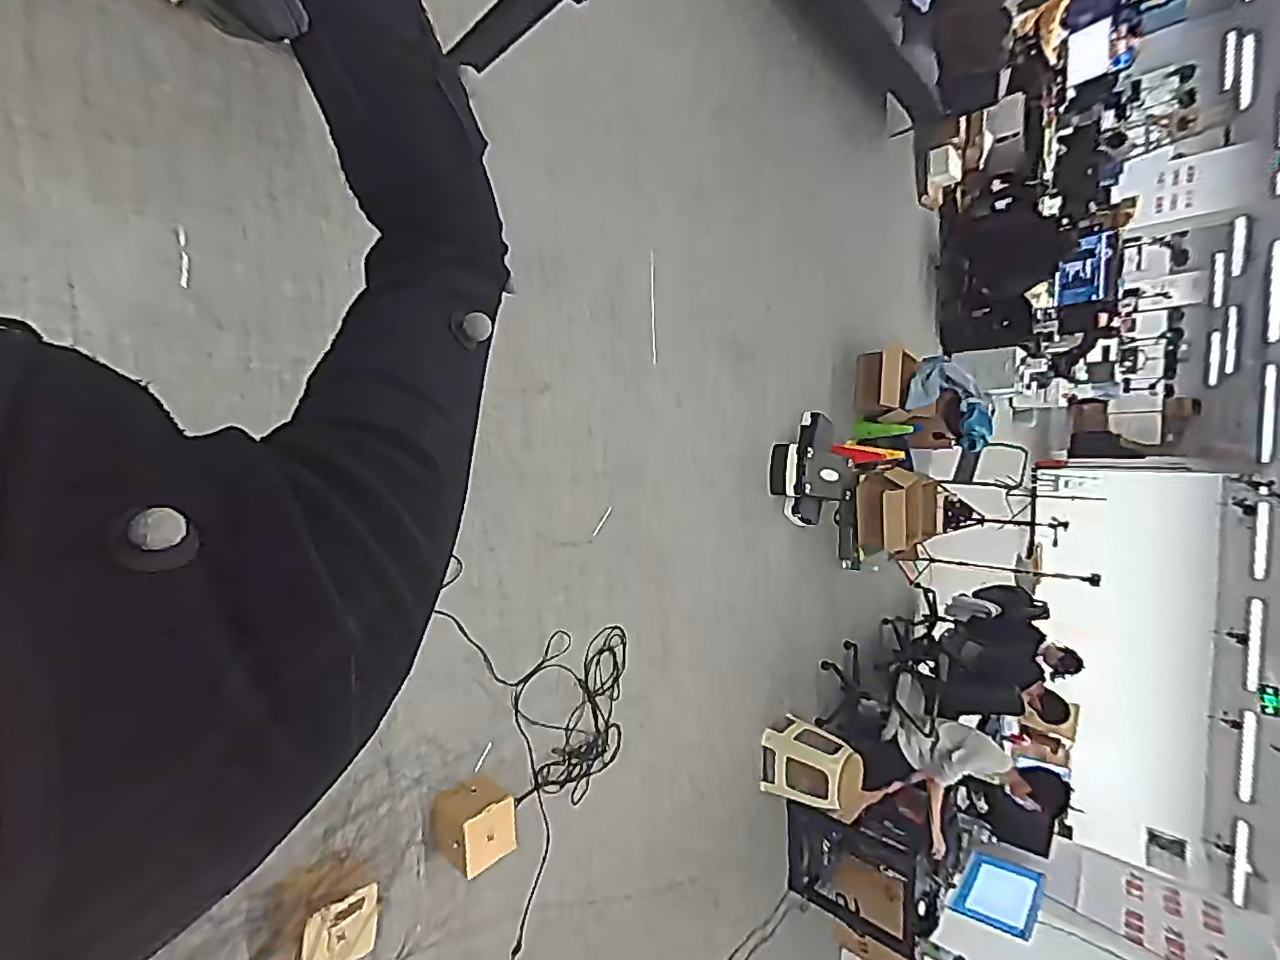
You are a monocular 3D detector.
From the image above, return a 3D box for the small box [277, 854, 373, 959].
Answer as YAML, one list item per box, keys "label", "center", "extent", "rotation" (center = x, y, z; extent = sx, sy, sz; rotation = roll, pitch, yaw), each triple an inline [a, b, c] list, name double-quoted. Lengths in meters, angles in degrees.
- label: "small box"
  center: [-0.778, 1.069, 1.332]
  extent: [0.168, 0.176, 0.179]
  rotation: [1, 92, -48]

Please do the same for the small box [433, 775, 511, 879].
- label: "small box"
  center: [-0.507, 1.034, 1.629]
  extent: [0.168, 0.176, 0.179]
  rotation: [-7, 96, -48]
